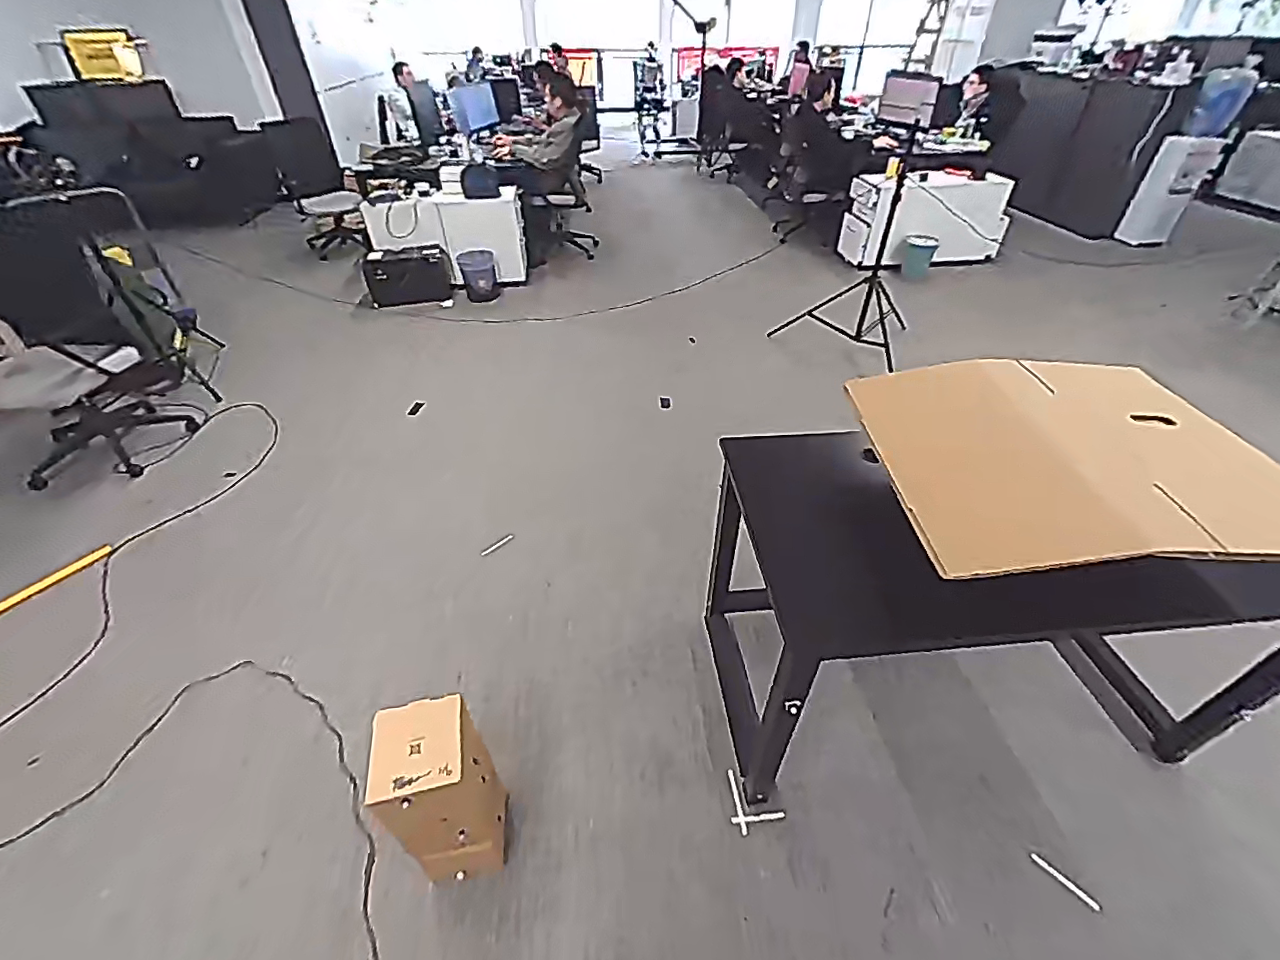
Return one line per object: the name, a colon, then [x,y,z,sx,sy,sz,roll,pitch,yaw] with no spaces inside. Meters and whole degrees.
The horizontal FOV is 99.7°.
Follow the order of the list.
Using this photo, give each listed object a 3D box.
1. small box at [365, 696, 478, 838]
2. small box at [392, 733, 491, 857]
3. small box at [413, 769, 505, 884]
small box: [-0.421,0.566,1.068,0.168,0.176,0.179,-10,40,-11]
small box: [-0.421,0.689,1.177,0.168,0.176,0.179,-8,39,-10]
small box: [-0.417,0.817,1.276,0.168,0.176,0.179,-6,41,-7]
